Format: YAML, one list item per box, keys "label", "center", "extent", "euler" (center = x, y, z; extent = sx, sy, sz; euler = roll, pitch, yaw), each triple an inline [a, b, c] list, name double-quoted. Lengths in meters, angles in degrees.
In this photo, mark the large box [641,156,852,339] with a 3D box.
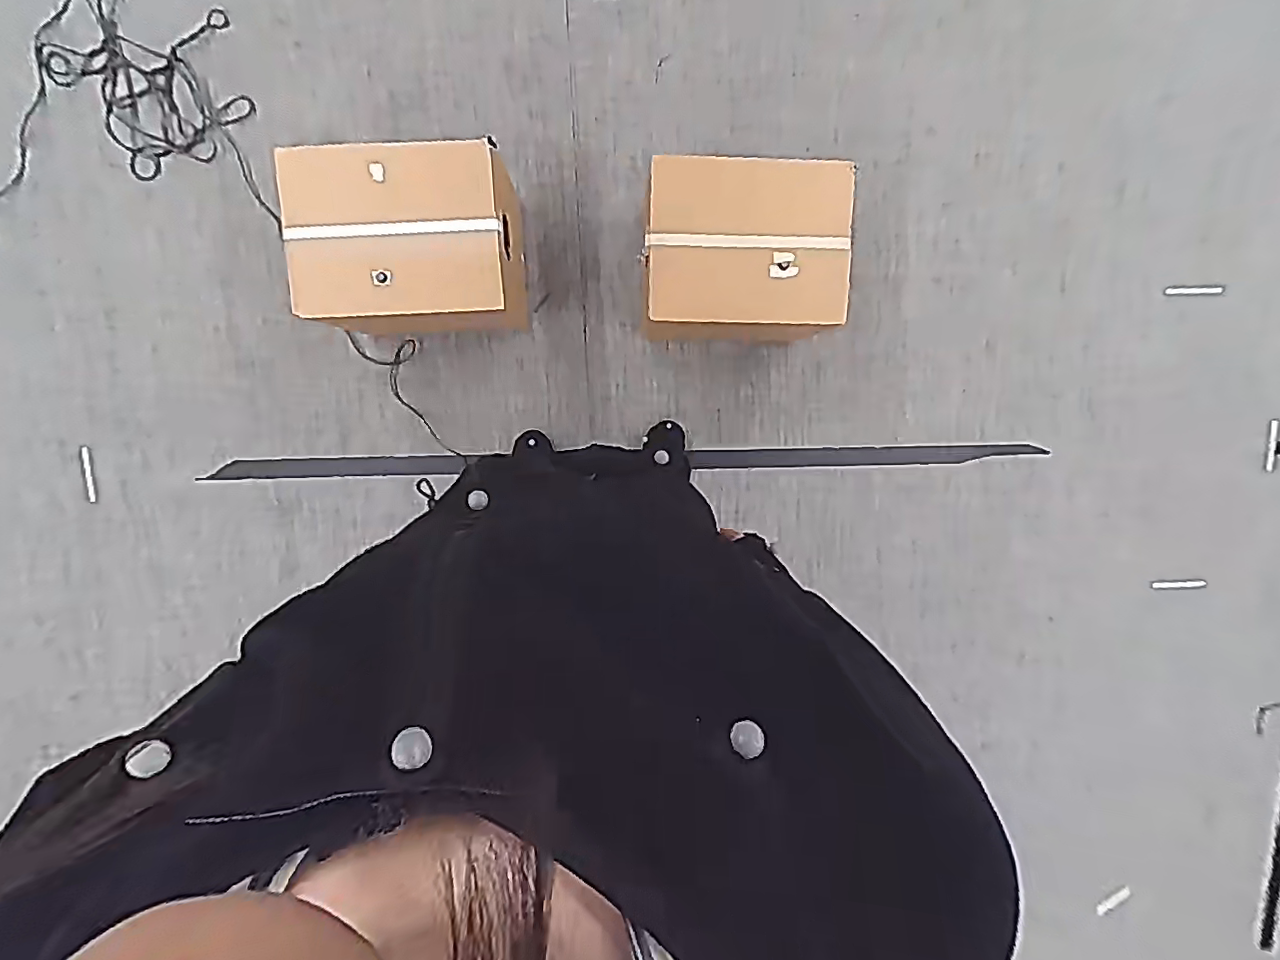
- label: "large box"
  center: [0.211, -0.496, 1.225]
  extent: [0.408, 0.320, 0.320]
  euler: [1, 98, -4]
